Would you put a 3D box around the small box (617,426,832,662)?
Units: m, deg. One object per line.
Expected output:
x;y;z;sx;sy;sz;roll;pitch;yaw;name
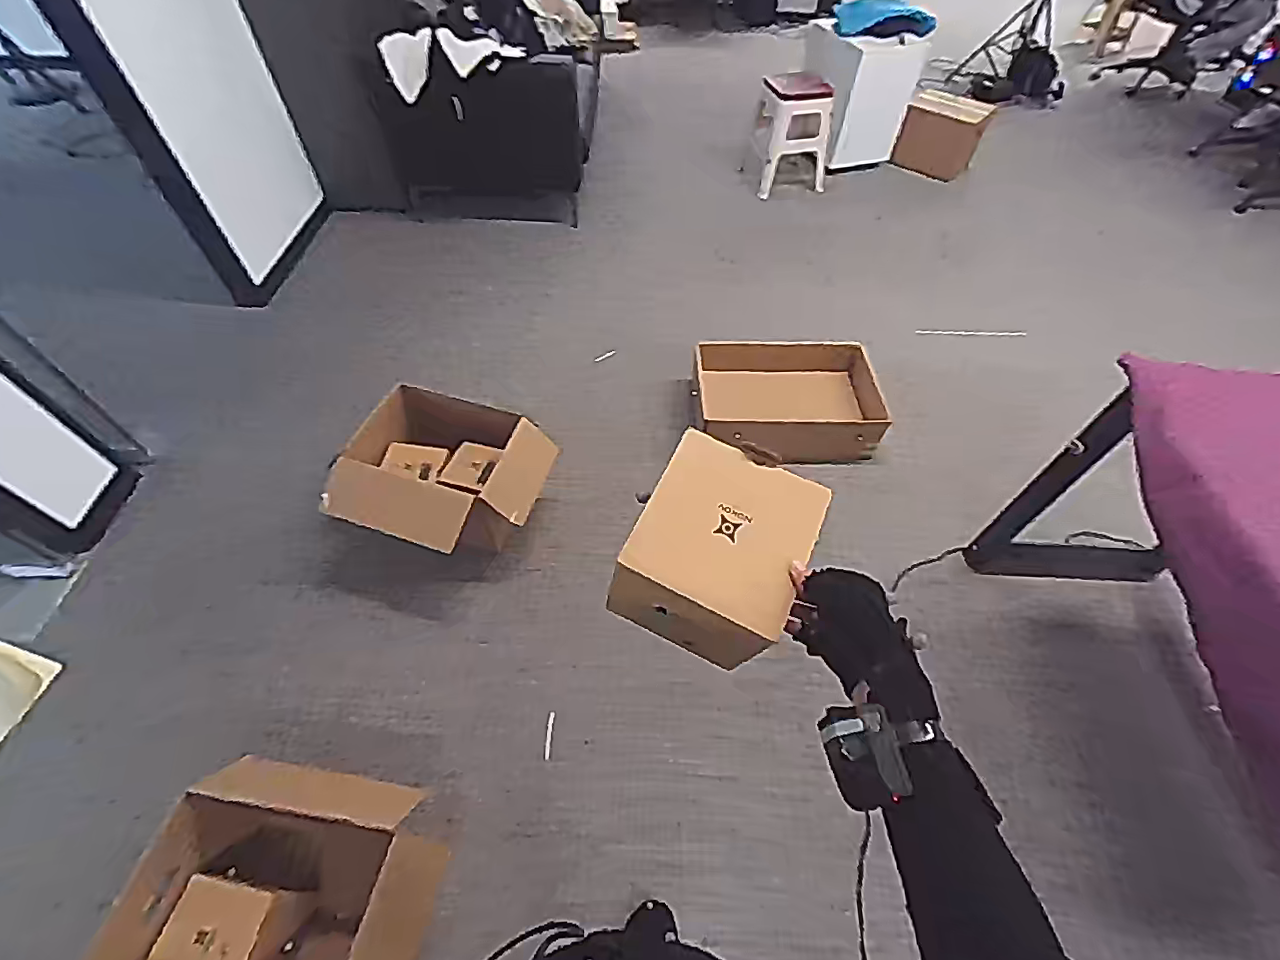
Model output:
0.083;0.079;0.602;0.168;0.176;0.179;26;61;6;small box
